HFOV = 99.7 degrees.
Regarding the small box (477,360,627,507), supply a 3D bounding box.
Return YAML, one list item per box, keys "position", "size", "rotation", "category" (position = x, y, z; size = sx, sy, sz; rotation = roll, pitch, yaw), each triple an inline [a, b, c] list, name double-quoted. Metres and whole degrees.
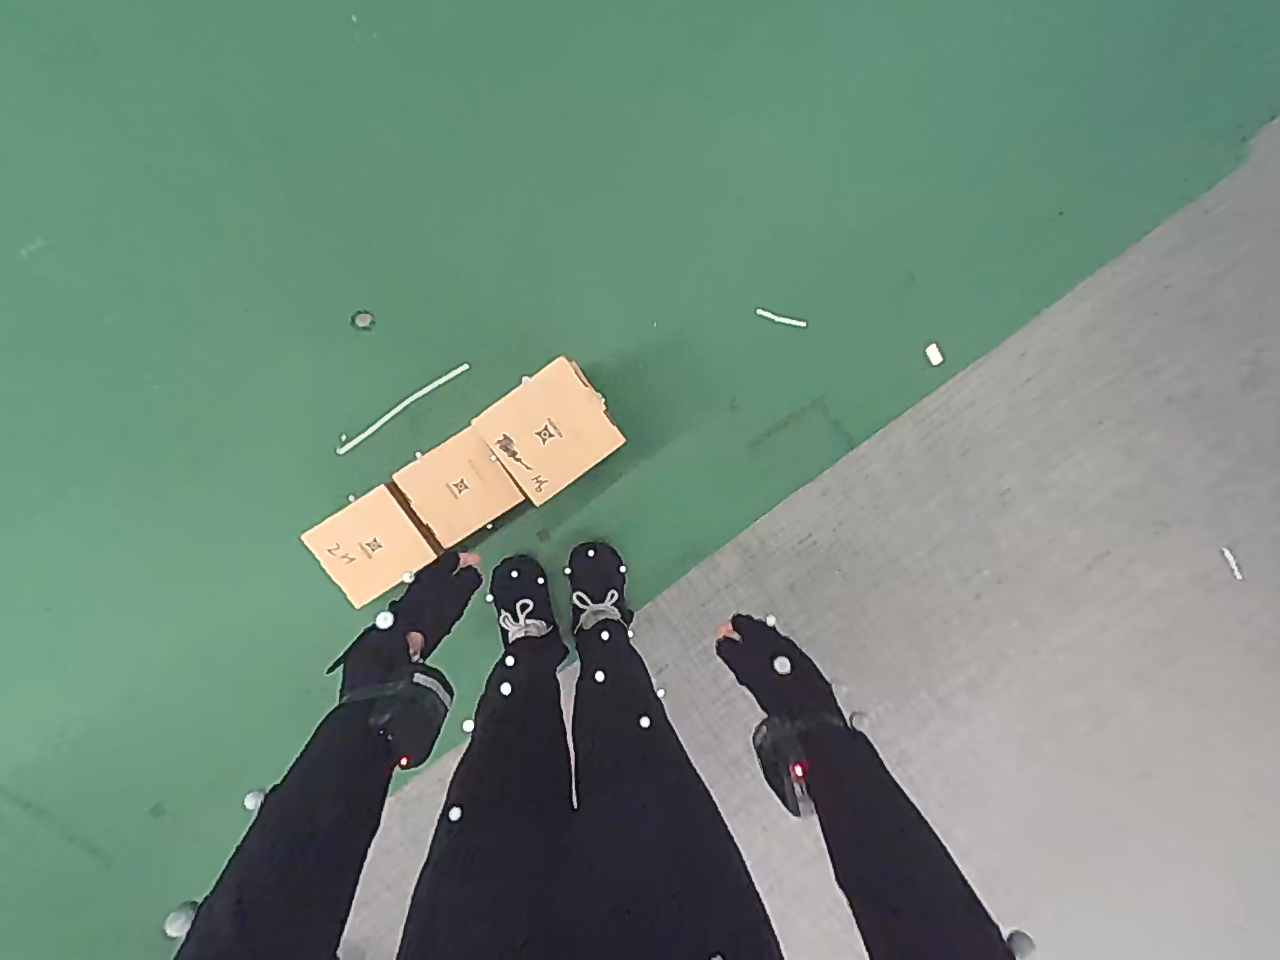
- position: [-0.146, -0.080, 0.907]
  size: [0.179, 0.176, 0.168]
  rotation: [-36, 100, -3]
  category: "small box"
